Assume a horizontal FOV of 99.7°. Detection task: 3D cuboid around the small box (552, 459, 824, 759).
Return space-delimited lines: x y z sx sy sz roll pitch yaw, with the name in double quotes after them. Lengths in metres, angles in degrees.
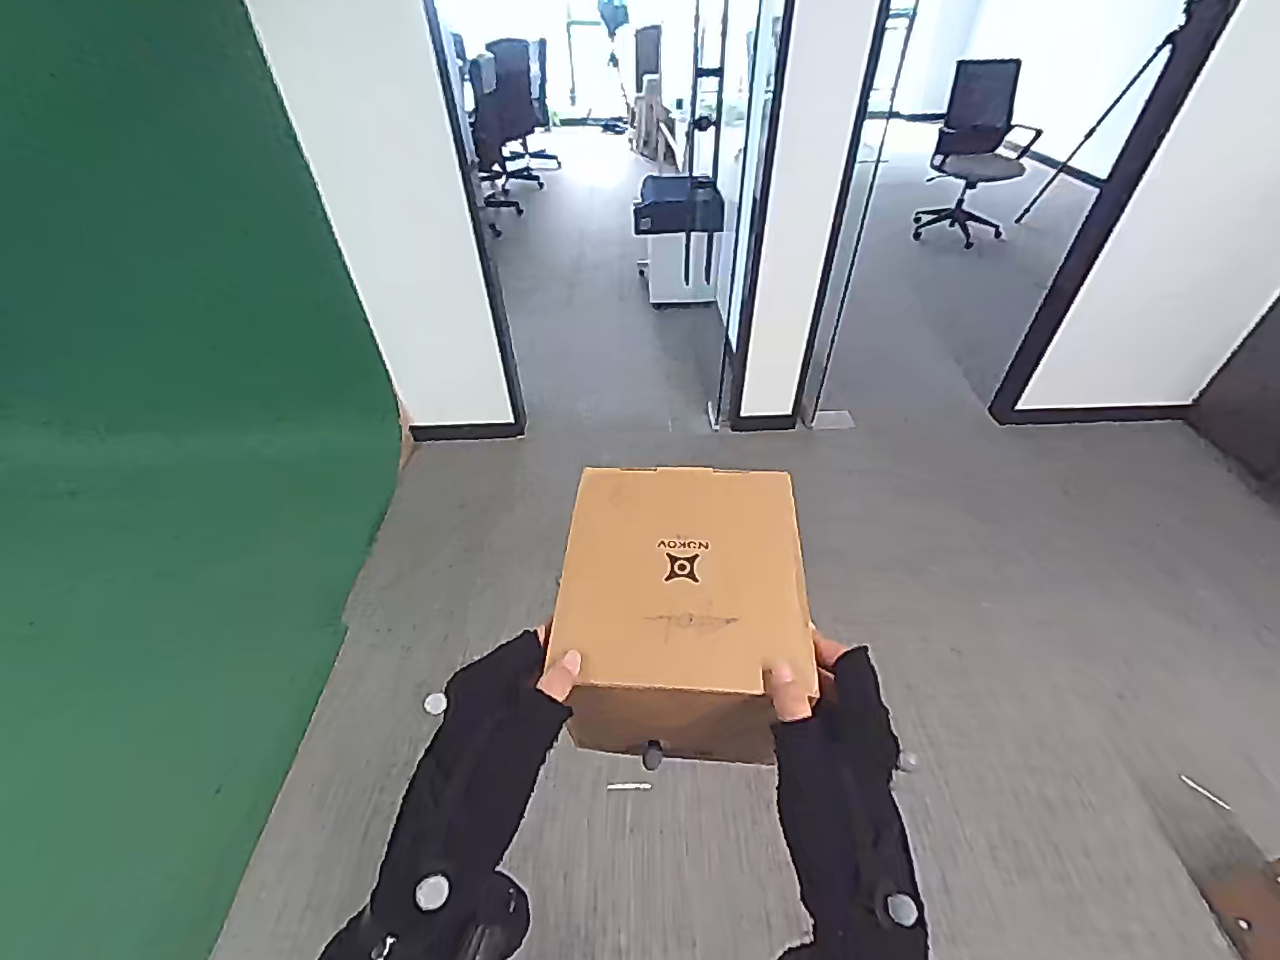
0.037 0.104 0.435 0.168 0.176 0.179 2 51 5 "small box"
